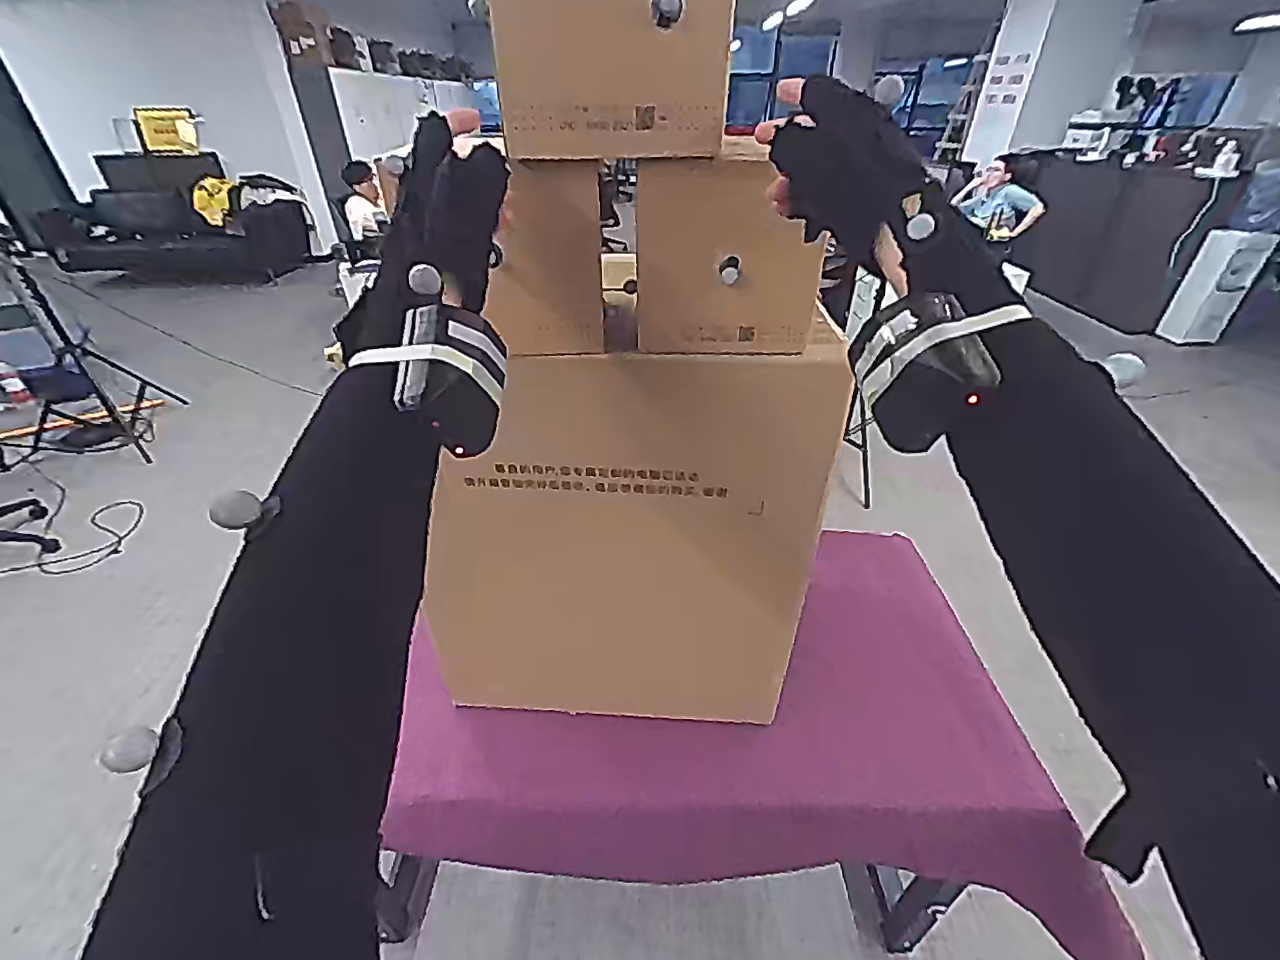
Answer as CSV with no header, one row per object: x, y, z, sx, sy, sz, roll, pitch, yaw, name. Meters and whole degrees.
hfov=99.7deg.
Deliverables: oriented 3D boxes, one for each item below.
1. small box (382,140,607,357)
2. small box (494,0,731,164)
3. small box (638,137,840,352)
-0.121,-0.232,0.540,0.179,0.176,0.168,-3,36,-3,small box
-0.026,-0.357,0.435,0.168,0.176,0.179,-4,35,-7,small box
0.085,-0.239,0.546,0.168,0.176,0.179,1,36,1,small box
